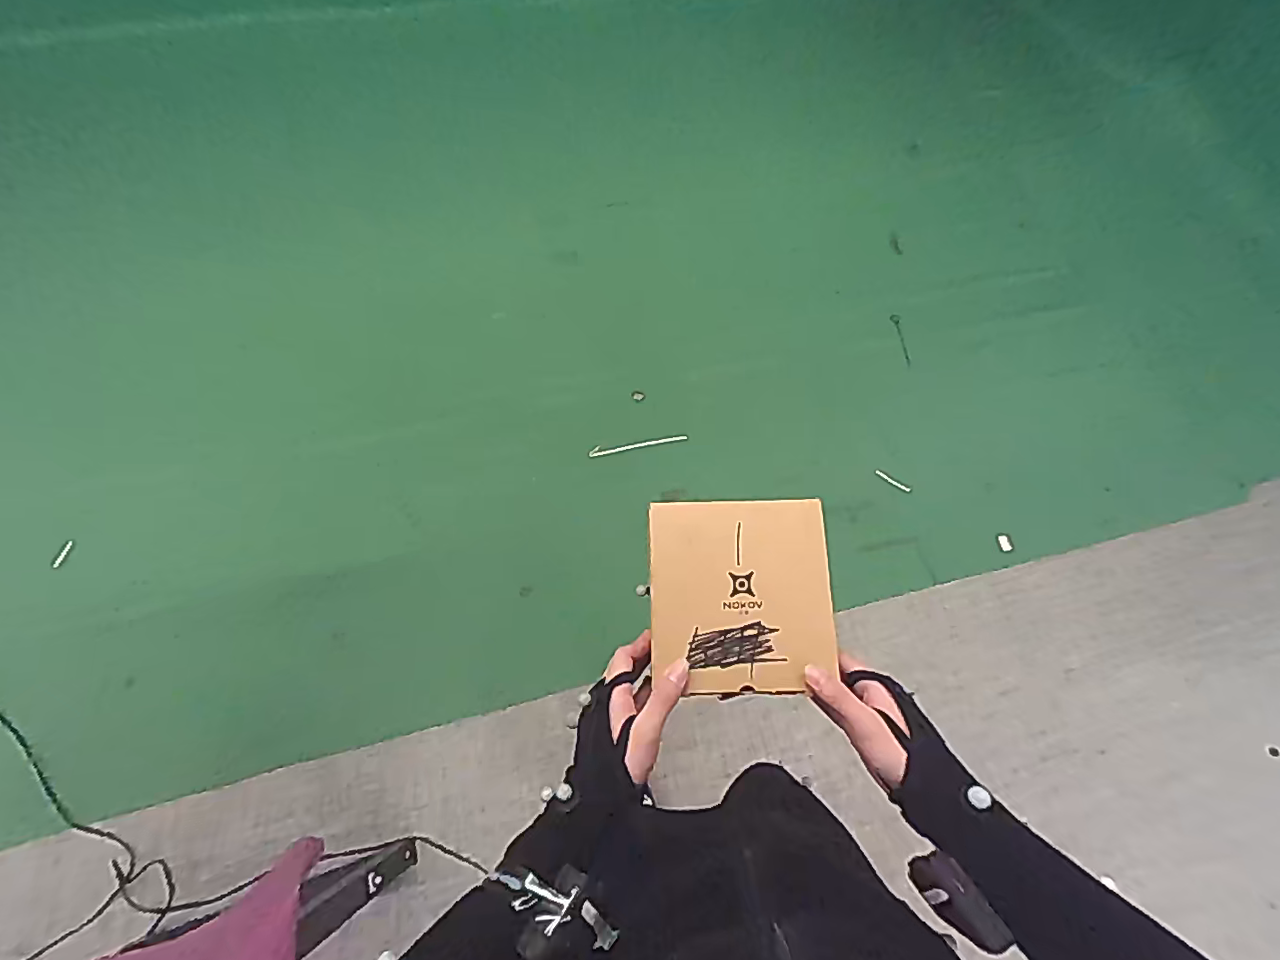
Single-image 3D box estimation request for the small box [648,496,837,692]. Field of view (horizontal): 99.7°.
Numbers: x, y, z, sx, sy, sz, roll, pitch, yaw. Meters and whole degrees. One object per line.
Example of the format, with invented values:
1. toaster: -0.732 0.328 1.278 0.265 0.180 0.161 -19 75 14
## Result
1. small box: 0.092 0.119 0.570 0.168 0.176 0.179 -1 76 0
